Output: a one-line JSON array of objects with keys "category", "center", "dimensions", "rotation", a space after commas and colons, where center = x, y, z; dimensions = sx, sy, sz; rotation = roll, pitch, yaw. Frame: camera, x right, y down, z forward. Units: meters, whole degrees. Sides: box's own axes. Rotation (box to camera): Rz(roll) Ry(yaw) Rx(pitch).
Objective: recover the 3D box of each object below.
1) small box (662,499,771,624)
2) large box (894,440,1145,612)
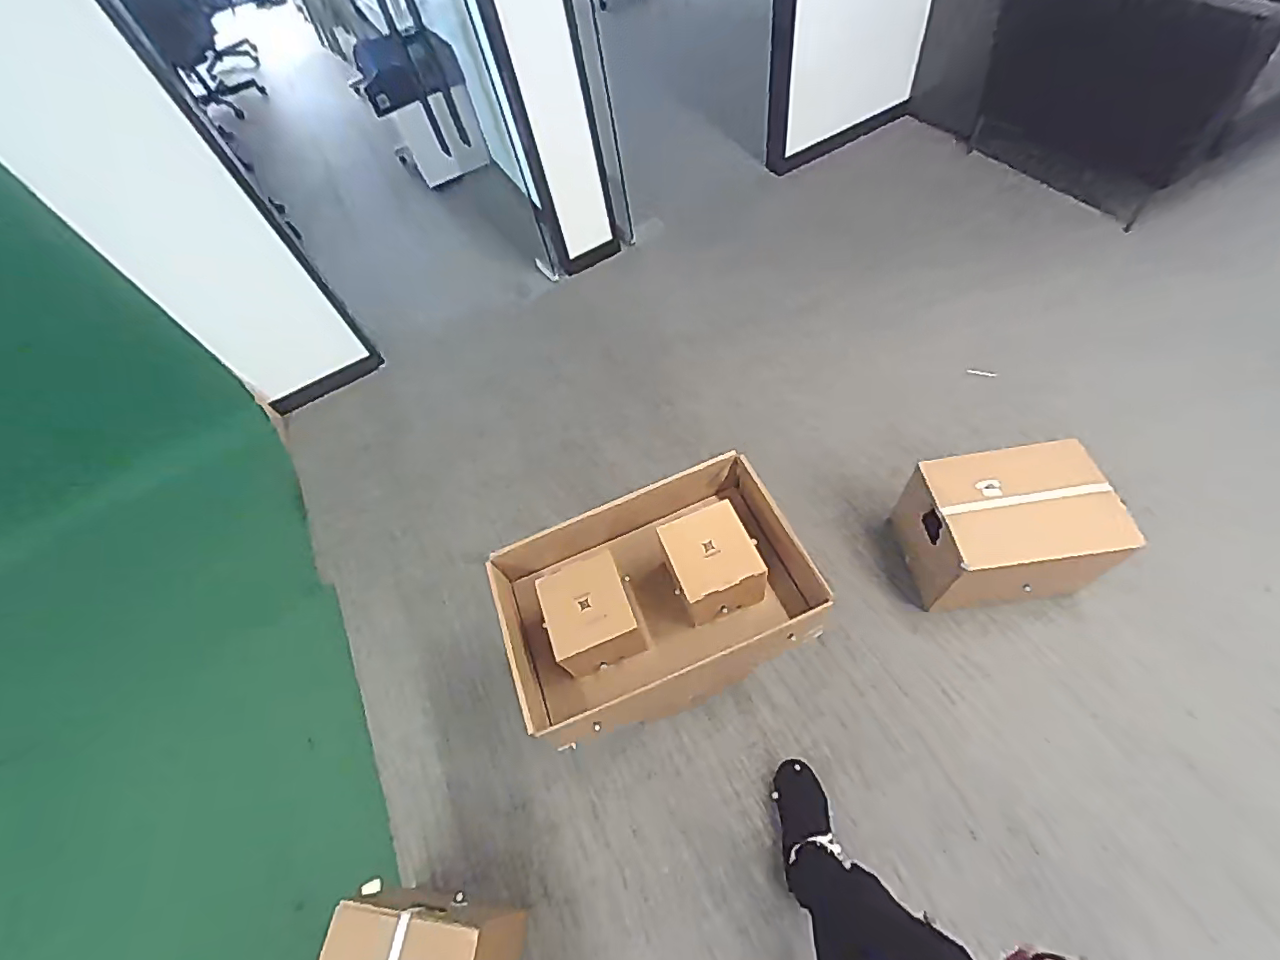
[{"category": "small box", "center": [0.157, 0.175, 1.134], "dimensions": [0.168, 0.176, 0.179], "rotation": [-22, 58, -4]}, {"category": "large box", "center": [0.960, 0.134, 1.439], "dimensions": [0.408, 0.320, 0.320], "rotation": [-10, 56, 5]}]
